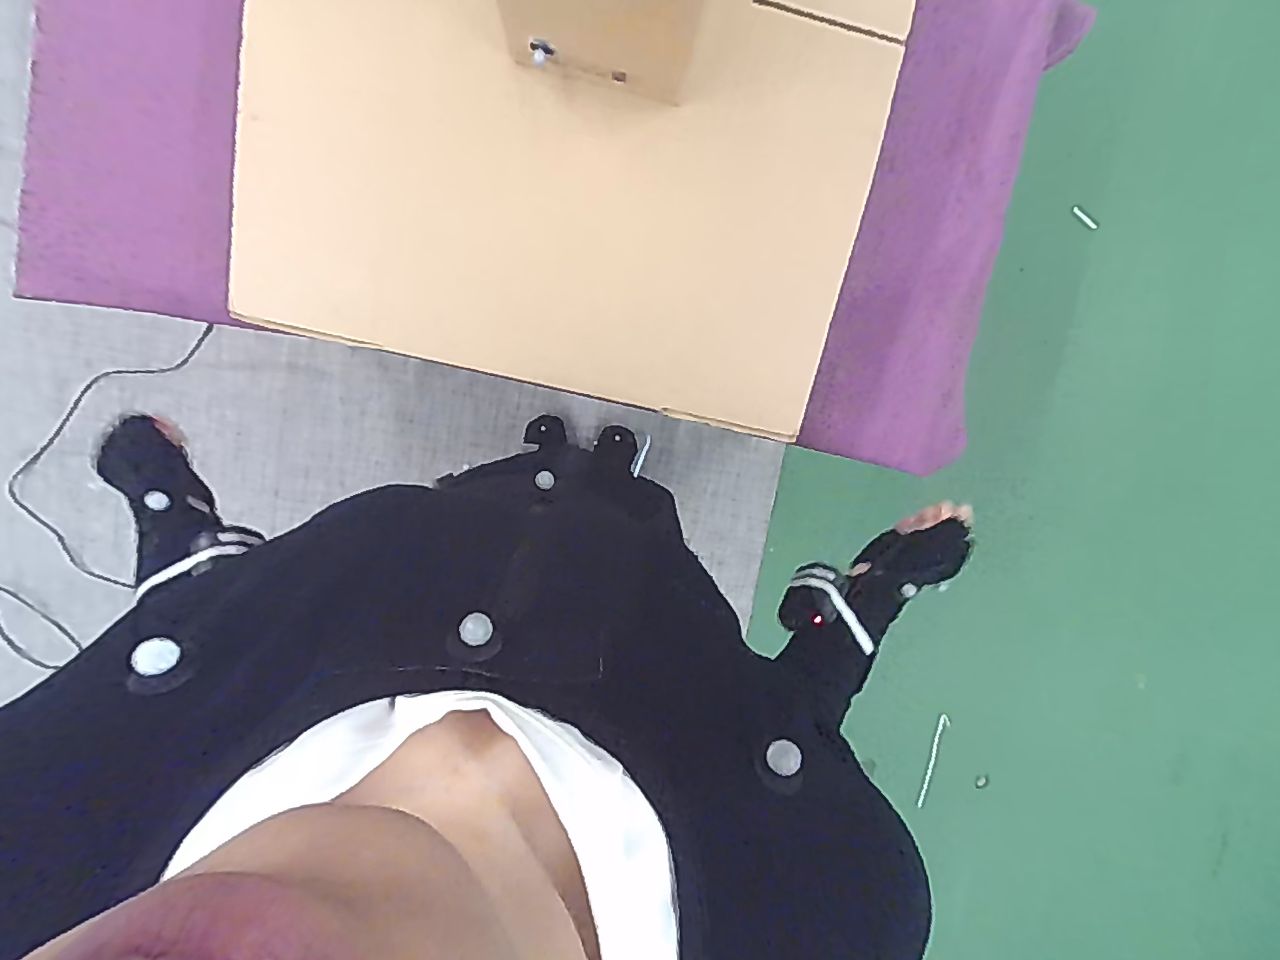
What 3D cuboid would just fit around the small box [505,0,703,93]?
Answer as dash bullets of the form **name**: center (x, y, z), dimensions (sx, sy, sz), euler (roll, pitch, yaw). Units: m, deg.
- **small box**: center (-0.018, -0.459, 0.430), dimensions (0.168, 0.176, 0.179), euler (12, 94, -5)
